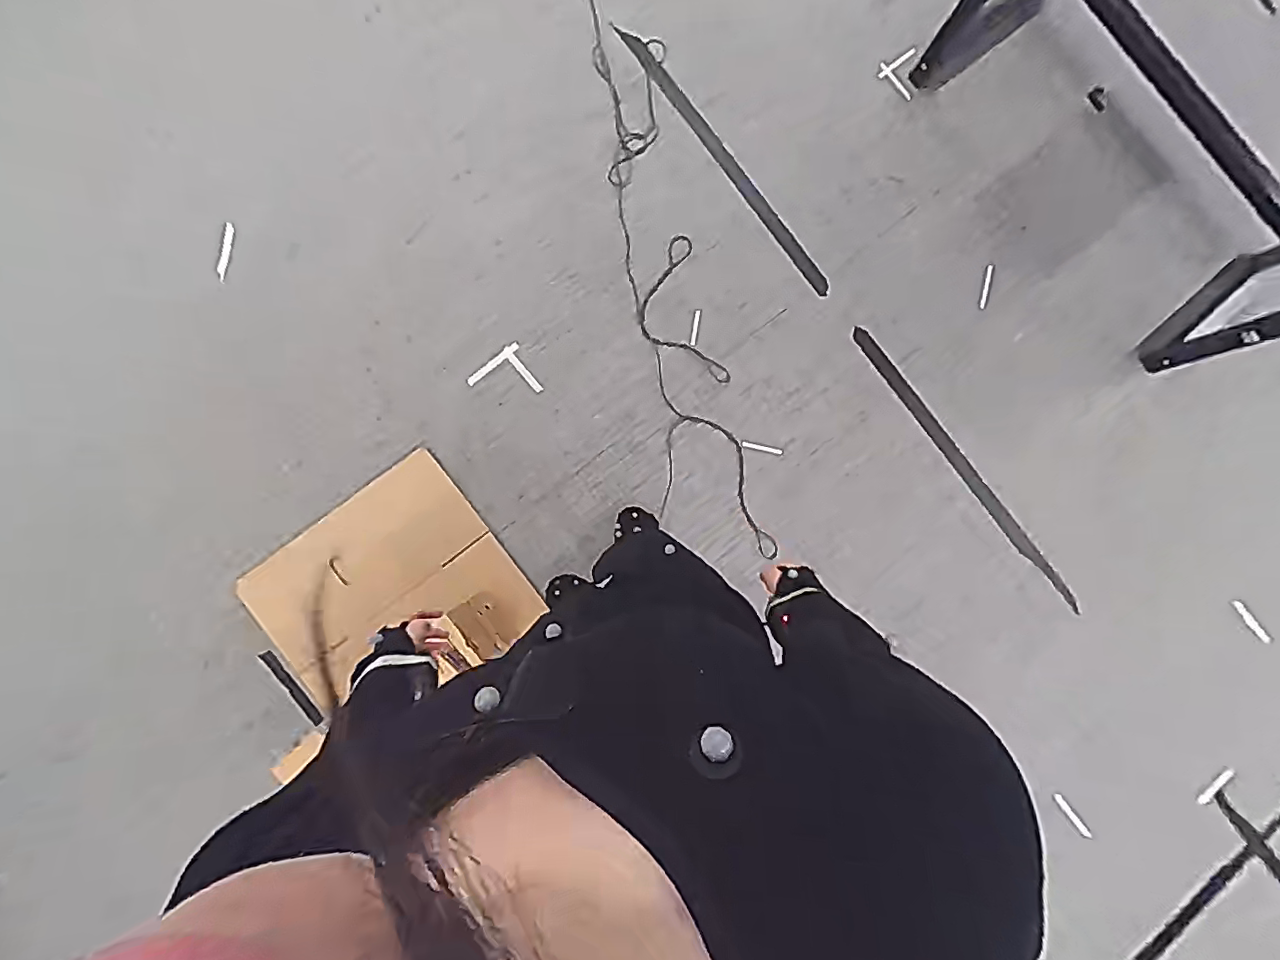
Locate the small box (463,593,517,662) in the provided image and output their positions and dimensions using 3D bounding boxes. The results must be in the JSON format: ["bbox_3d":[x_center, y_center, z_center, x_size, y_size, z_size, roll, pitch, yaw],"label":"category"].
[{"bbox_3d":[-0.427,0.405,1.357,0.179,0.176,0.168,-40,89,-5],"label":"small box"}]

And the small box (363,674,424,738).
[{"bbox_3d":[-0.635,0.593,1.326,0.168,0.176,0.179,45,83,0],"label":"small box"}]

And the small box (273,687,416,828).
[{"bbox_3d":[-0.621,0.584,1.162,0.179,0.176,0.168,-43,91,-6],"label":"small box"}]

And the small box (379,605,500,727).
[{"bbox_3d":[-0.426,0.397,1.193,0.179,0.176,0.168,-37,89,-6],"label":"small box"}]
